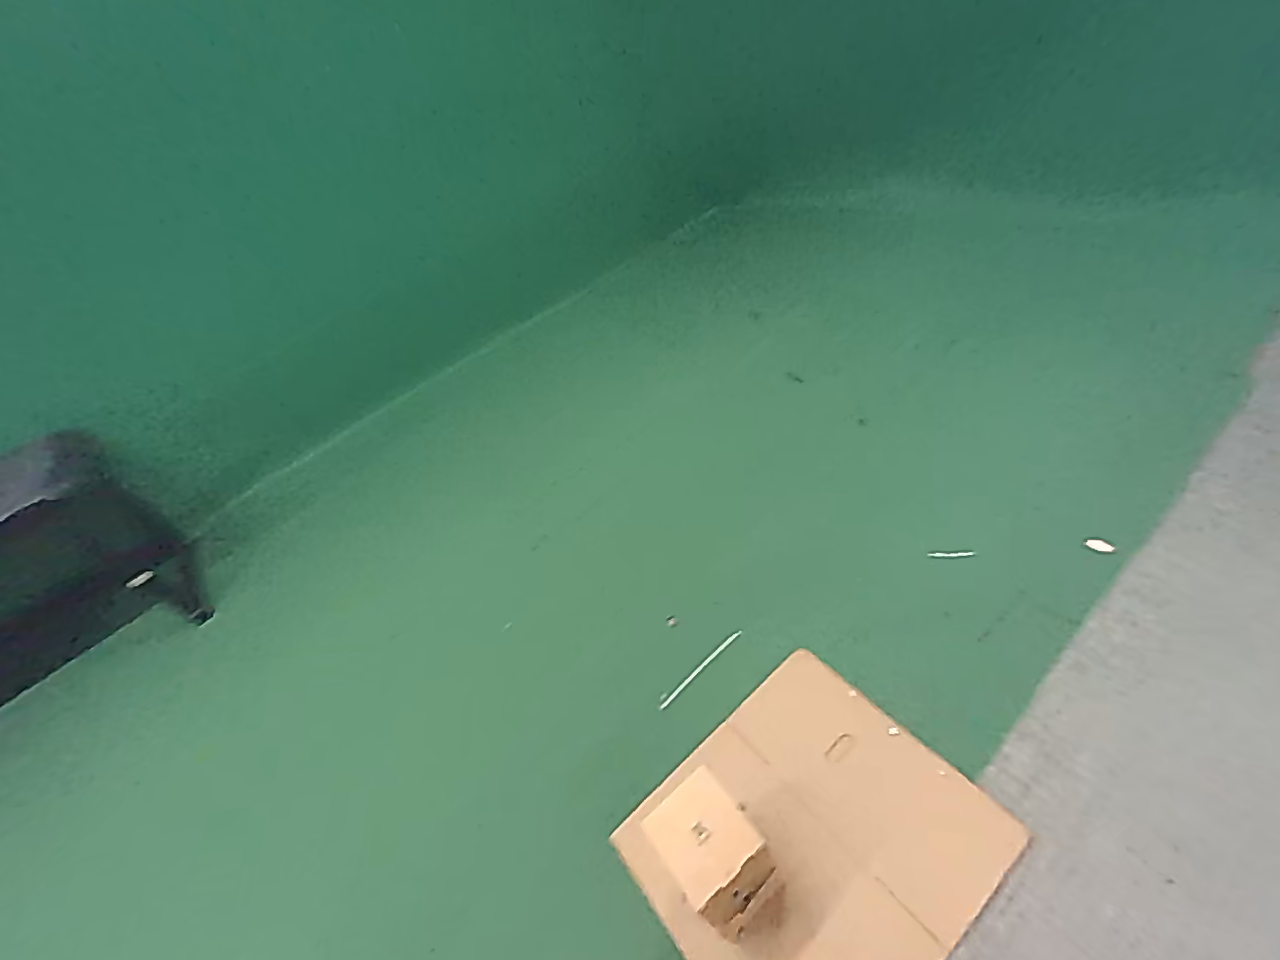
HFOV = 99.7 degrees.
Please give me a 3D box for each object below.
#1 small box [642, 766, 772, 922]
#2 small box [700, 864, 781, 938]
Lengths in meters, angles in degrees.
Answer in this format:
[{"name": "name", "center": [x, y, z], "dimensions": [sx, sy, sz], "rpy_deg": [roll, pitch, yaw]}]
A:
[{"name": "small box", "center": [0.132, 0.704, 1.045], "dimensions": [0.168, 0.176, 0.179], "rpy_deg": [-36, 45, -16]}, {"name": "small box", "center": [0.178, 0.824, 1.145], "dimensions": [0.168, 0.176, 0.179], "rpy_deg": [-37, 44, -16]}]
